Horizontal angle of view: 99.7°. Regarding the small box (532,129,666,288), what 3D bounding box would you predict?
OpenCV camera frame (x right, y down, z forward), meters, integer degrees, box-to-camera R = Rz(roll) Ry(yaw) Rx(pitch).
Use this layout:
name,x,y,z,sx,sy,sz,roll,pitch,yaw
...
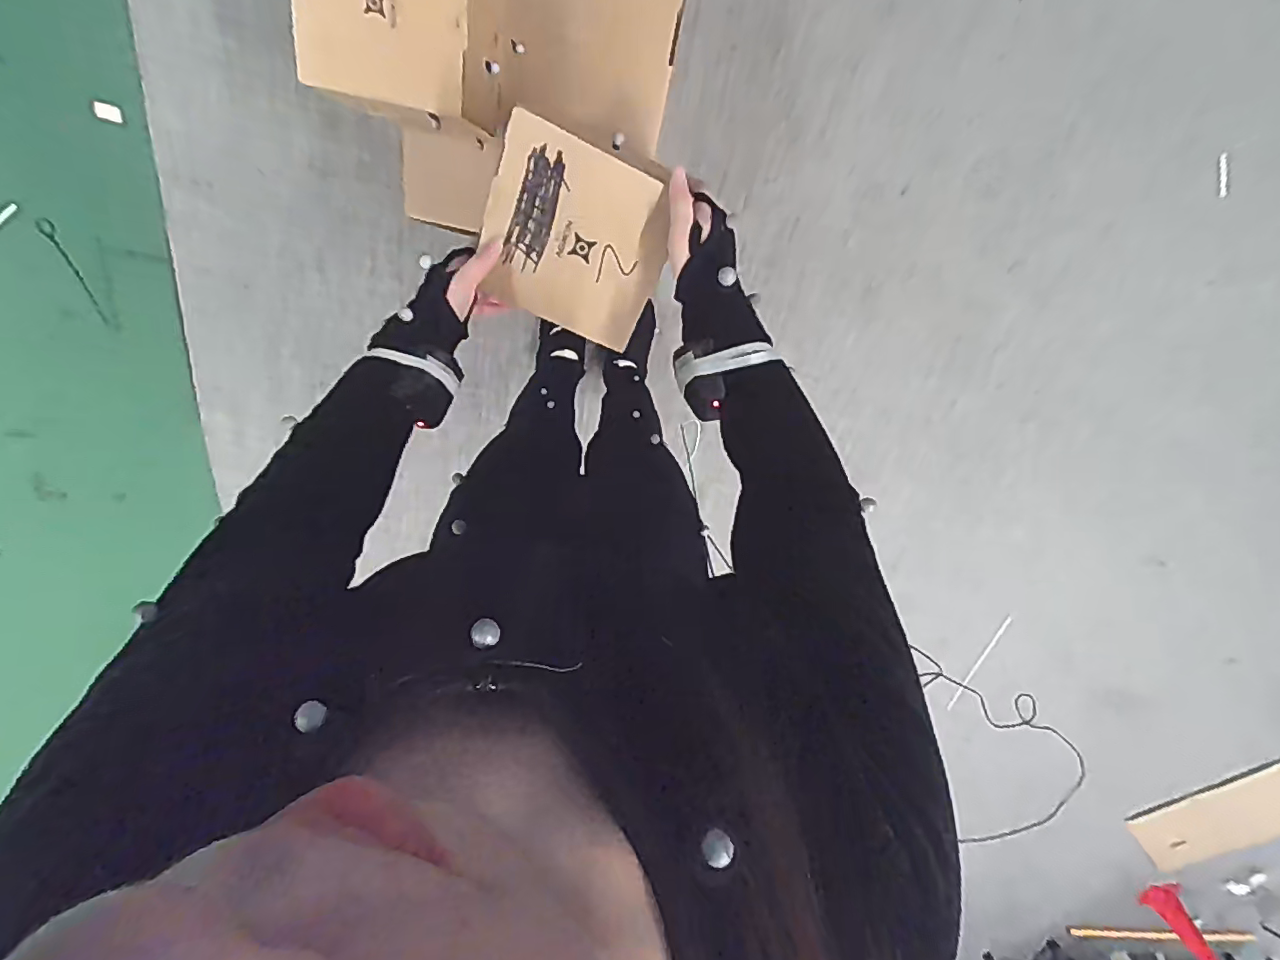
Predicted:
name,x,y,z,sx,sy,sz,roll,pitch,yaw
small box,-0.068,-0.427,0.862,0.168,0.176,0.179,12,116,-10

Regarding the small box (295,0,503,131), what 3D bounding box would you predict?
name,x,y,z,sx,sy,sz,roll,pitch,yaw
small box,-0.266,-0.521,0.623,0.179,0.176,0.168,8,115,-7

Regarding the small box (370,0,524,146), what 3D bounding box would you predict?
name,x,y,z,sx,sy,sz,roll,pitch,yaw
small box,-0.267,-0.590,0.771,0.179,0.176,0.168,8,115,-6
